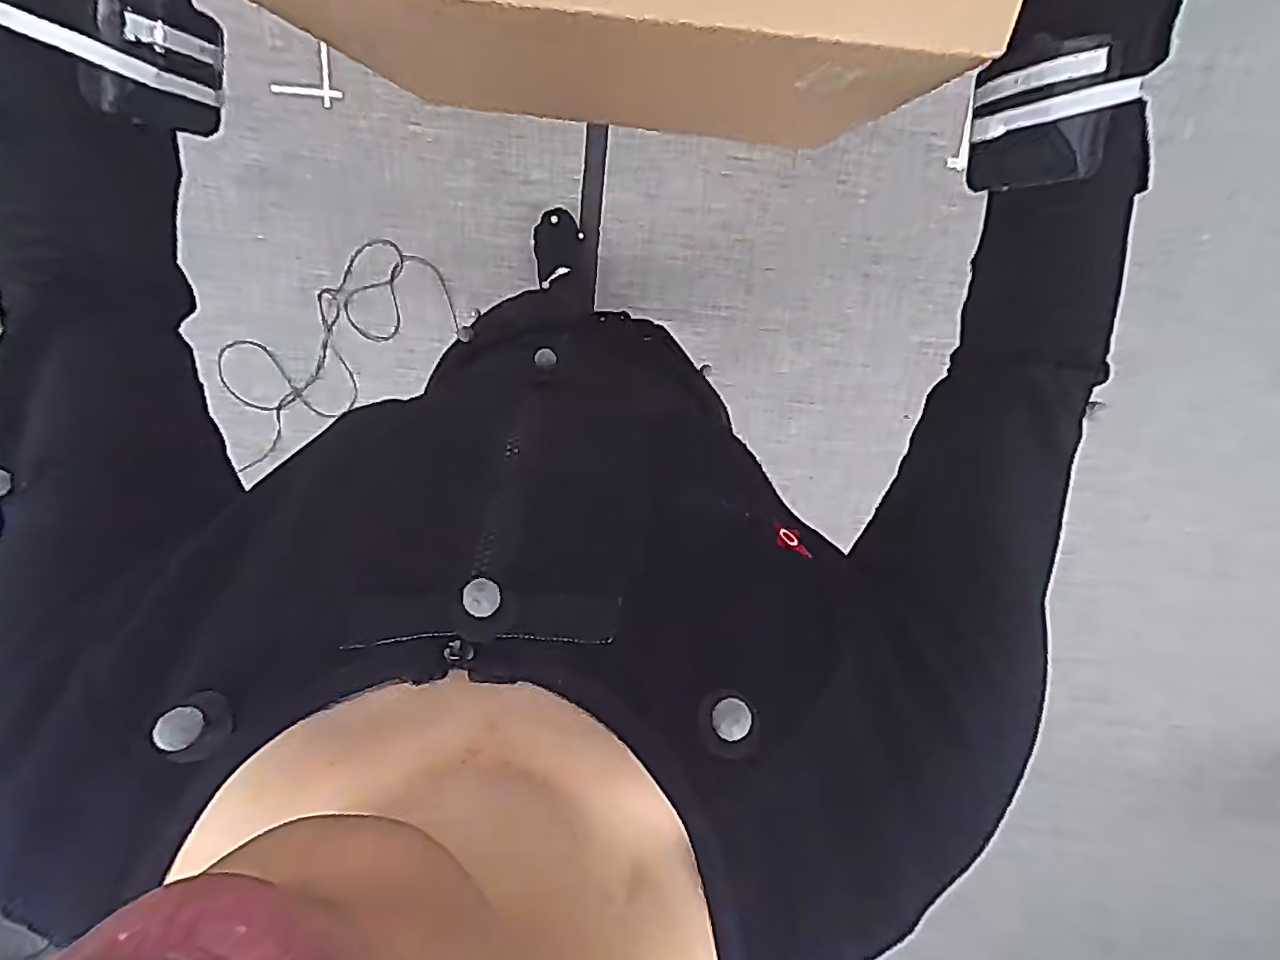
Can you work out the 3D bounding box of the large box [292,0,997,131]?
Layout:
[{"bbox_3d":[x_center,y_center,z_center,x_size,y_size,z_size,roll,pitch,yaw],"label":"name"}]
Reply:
[{"bbox_3d":[-0.005,-0.446,0.350,0.408,0.320,0.320,5,115,-2],"label":"large box"}]
